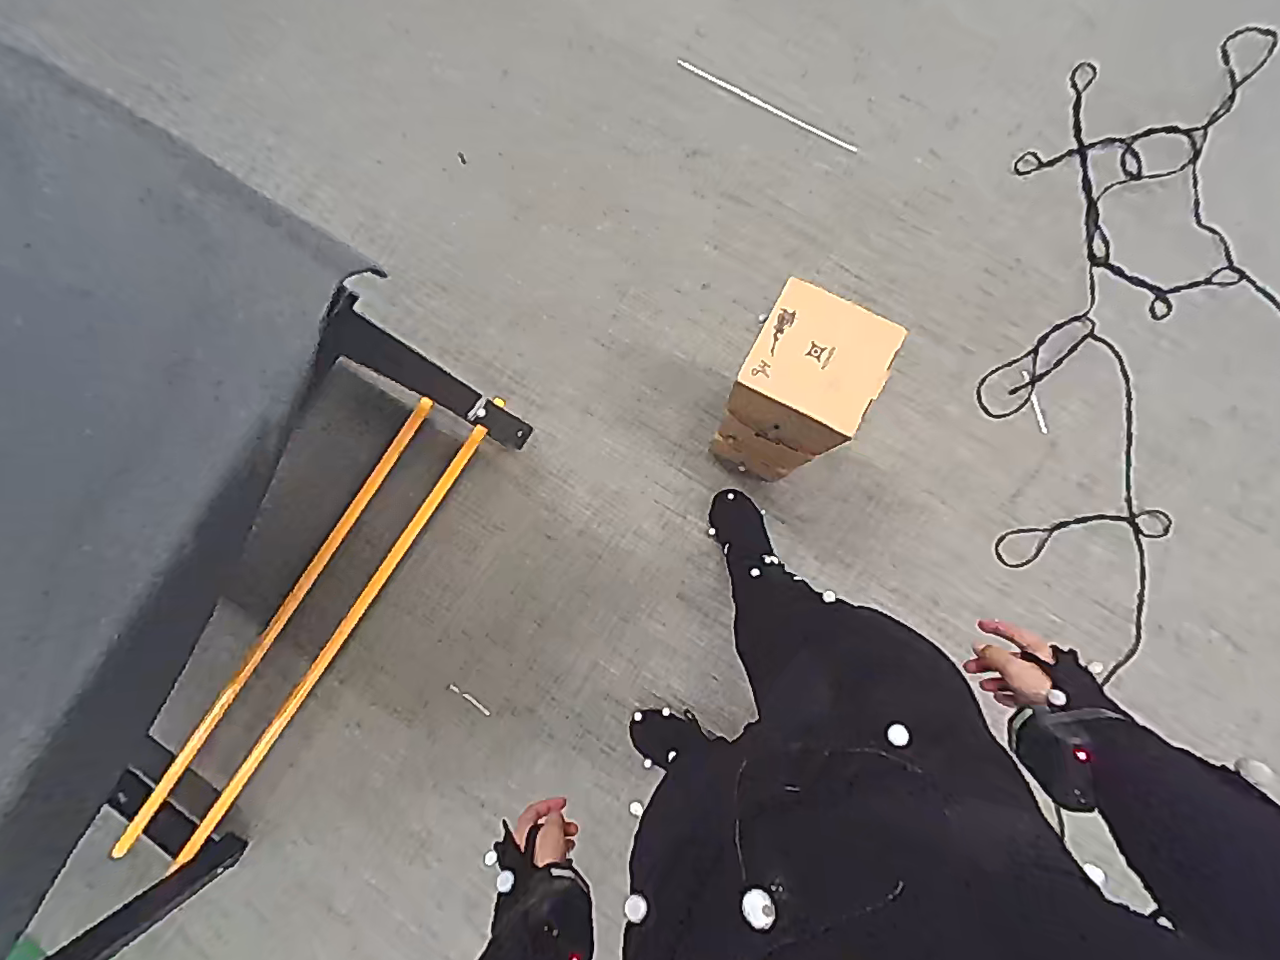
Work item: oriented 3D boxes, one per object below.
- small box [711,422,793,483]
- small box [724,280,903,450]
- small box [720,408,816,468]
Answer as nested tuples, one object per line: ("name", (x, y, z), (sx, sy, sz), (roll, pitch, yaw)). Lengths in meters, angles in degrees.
("small box", (0.257, -0.110, 1.130), (0.168, 0.176, 0.179), (27, 87, 7))
("small box", (0.244, -0.157, 0.805), (0.179, 0.176, 0.168), (29, 86, 5))
("small box", (0.254, -0.136, 0.968), (0.168, 0.176, 0.179), (28, 86, 6))
